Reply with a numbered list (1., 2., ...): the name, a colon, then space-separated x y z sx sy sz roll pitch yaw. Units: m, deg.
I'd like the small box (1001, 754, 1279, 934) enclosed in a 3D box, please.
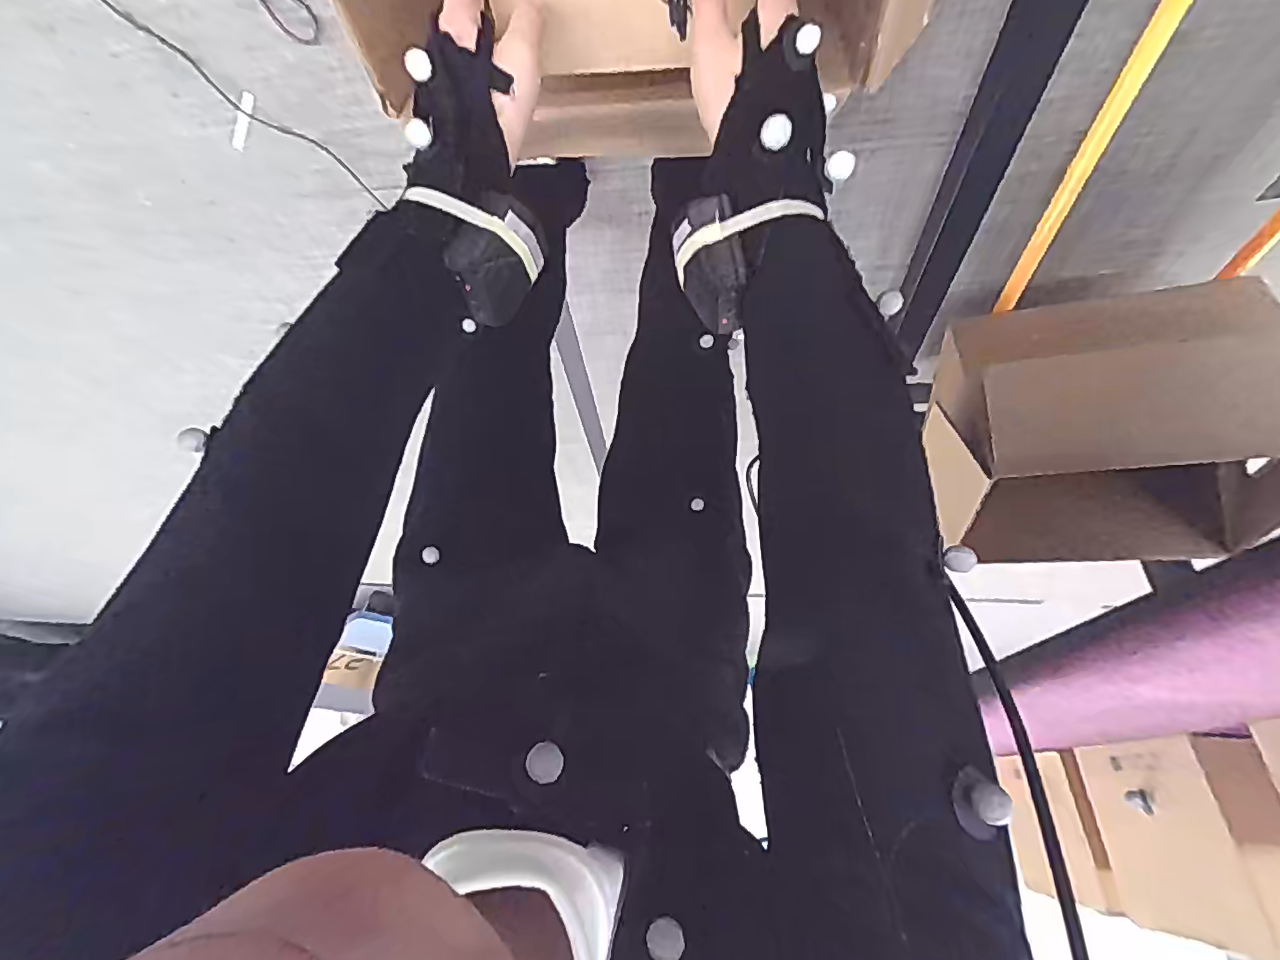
1. small box: 0.609 0.447 0.688 0.179 0.176 0.168 1 150 4
